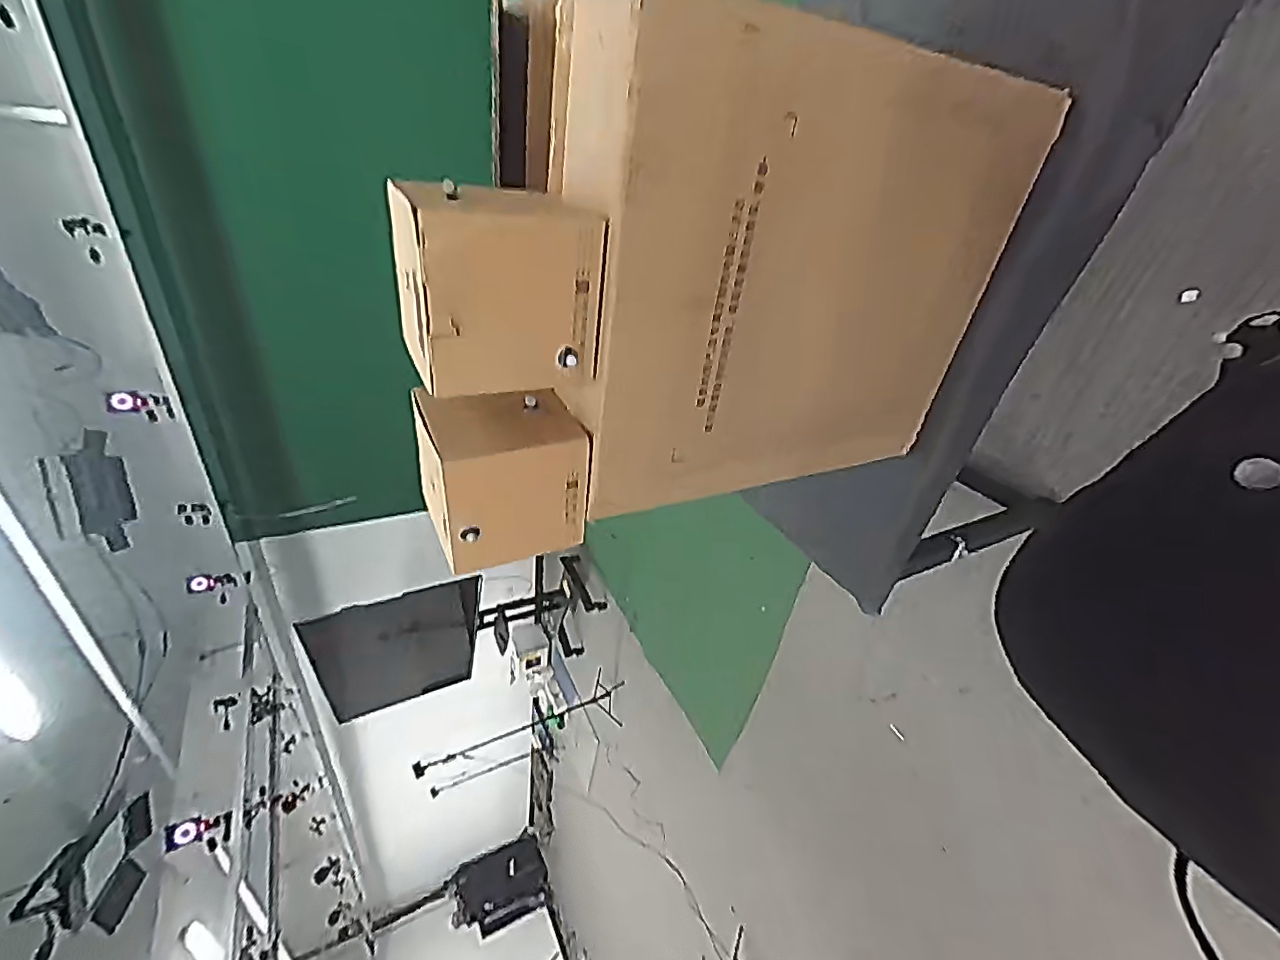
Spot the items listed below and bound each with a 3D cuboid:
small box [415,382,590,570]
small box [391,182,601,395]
[{"bbox_3d":[-0.176,-0.017,0.689,0.179,0.176,0.168,51,144,44],"label":"small box"},{"bbox_3d":[-0.151,-0.206,0.571,0.179,0.176,0.168,49,139,46],"label":"small box"}]
